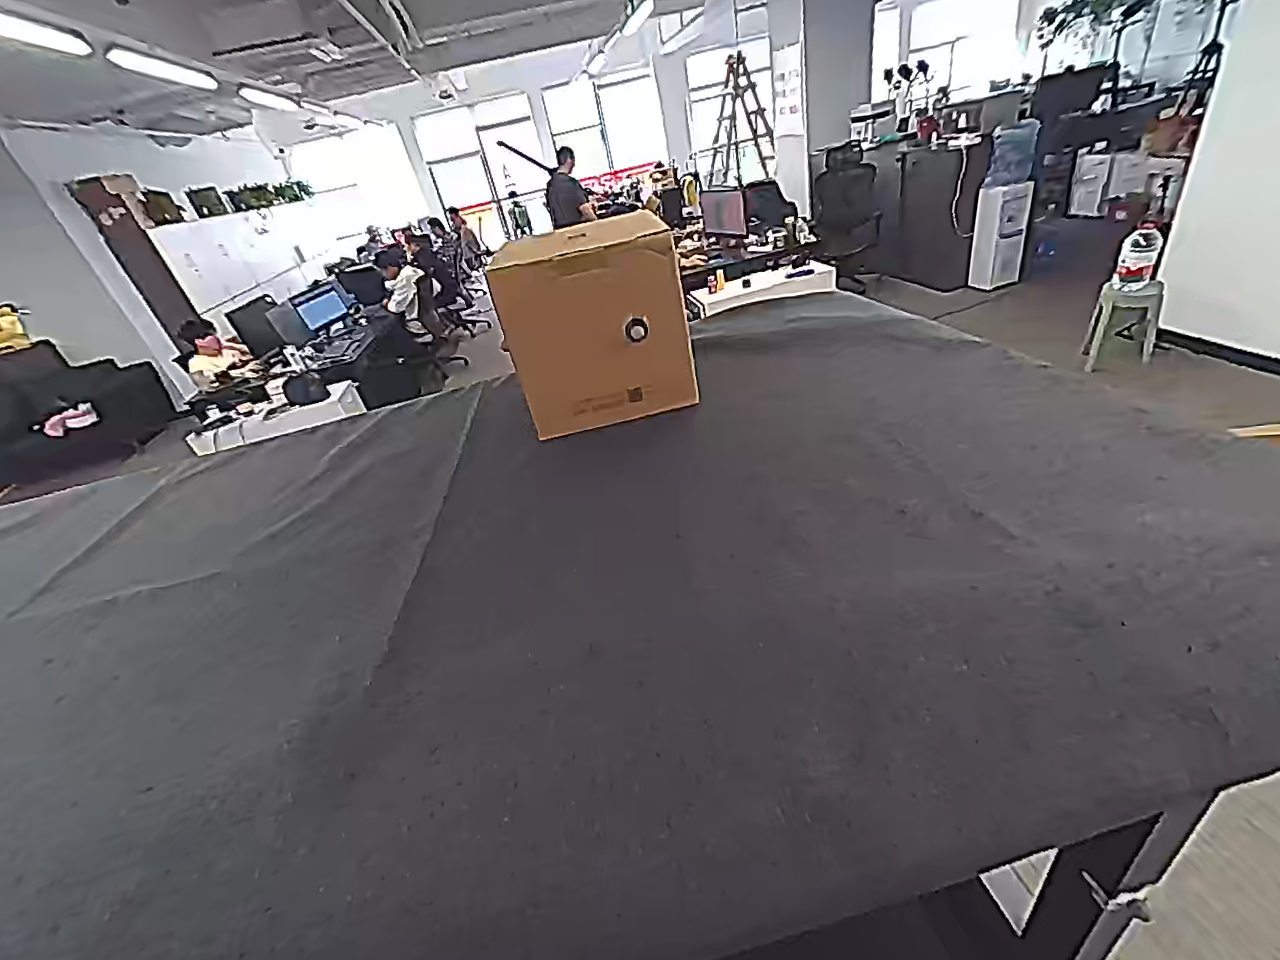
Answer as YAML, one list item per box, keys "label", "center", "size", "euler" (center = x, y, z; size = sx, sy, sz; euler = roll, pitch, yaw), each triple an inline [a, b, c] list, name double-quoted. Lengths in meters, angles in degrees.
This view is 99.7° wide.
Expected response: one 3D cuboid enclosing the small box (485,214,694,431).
- label: "small box"
  center: [-0.046, -0.162, 0.566]
  size: [0.168, 0.176, 0.179]
  euler: [-12, 31, 0]
